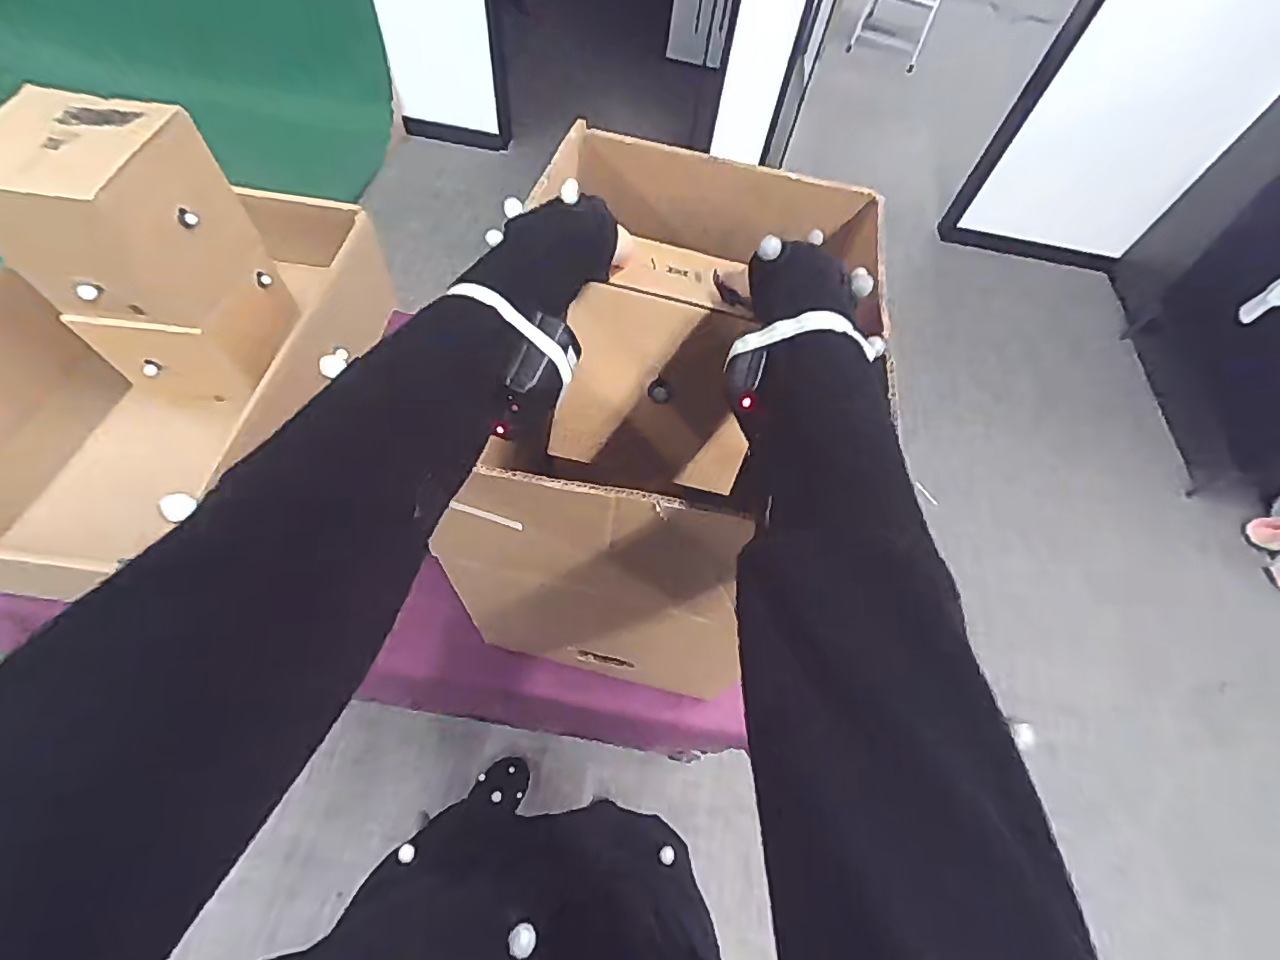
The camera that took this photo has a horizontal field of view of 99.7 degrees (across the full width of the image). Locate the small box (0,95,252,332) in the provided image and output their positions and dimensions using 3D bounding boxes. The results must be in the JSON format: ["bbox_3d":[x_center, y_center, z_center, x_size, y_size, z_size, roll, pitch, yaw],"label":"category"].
[{"bbox_3d":[-0.598,-0.301,0.627,0.168,0.176,0.179,6,60,-2],"label":"small box"}]

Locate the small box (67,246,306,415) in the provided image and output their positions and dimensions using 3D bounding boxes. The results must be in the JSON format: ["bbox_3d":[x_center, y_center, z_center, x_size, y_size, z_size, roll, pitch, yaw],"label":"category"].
[{"bbox_3d":[-0.613,-0.211,0.765,0.168,0.176,0.179,5,59,-3],"label":"small box"}]
